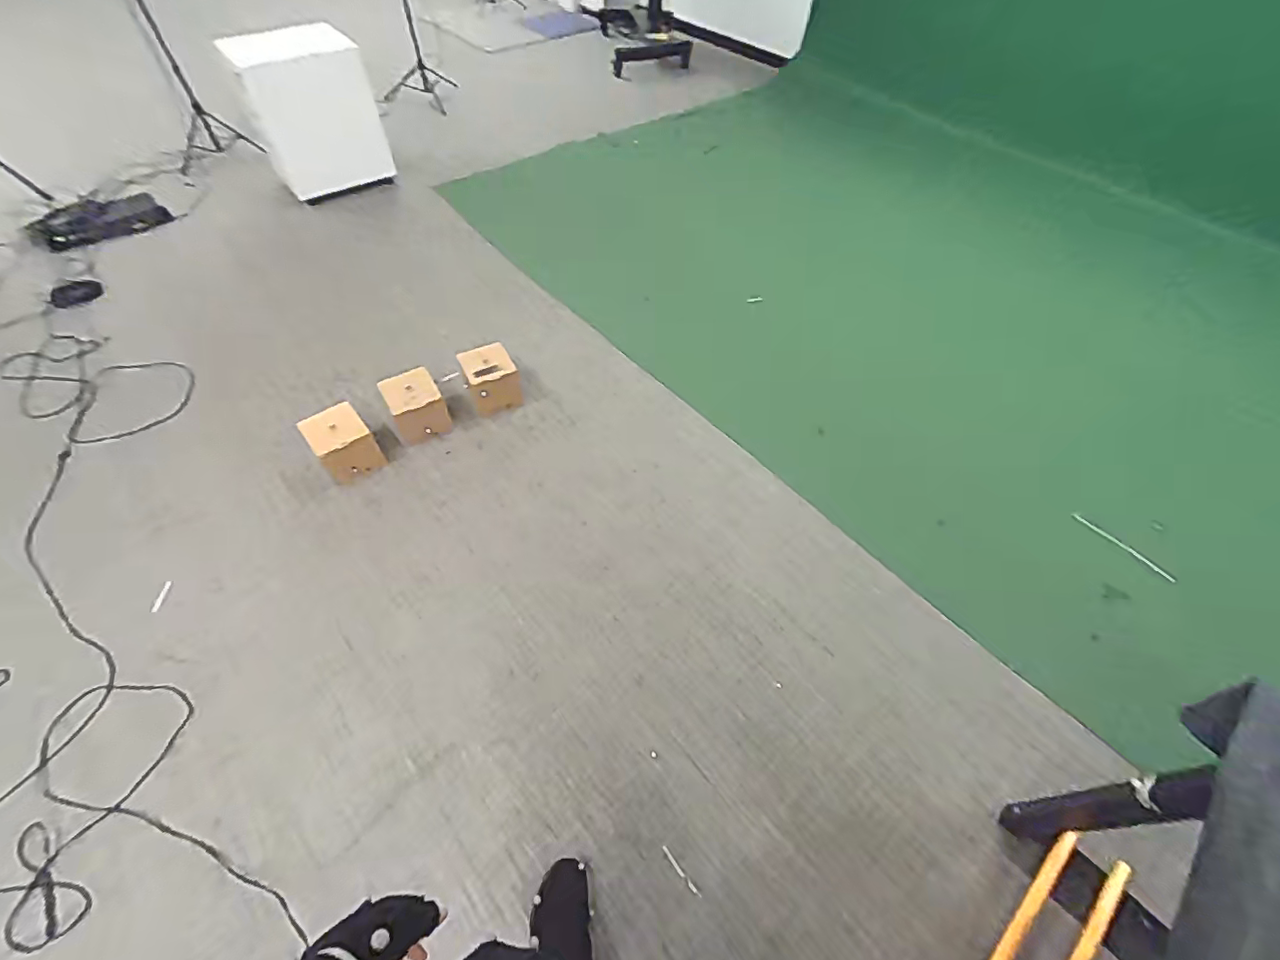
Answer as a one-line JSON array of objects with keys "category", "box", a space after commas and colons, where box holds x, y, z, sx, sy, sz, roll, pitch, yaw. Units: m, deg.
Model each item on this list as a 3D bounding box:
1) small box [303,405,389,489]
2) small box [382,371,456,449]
[{"category": "small box", "box": [-0.950, -0.103, 1.757, 0.168, 0.176, 0.179, -33, 62, -24]}, {"category": "small box", "box": [-0.759, -0.238, 1.864, 0.168, 0.176, 0.179, -26, 59, -20]}]
